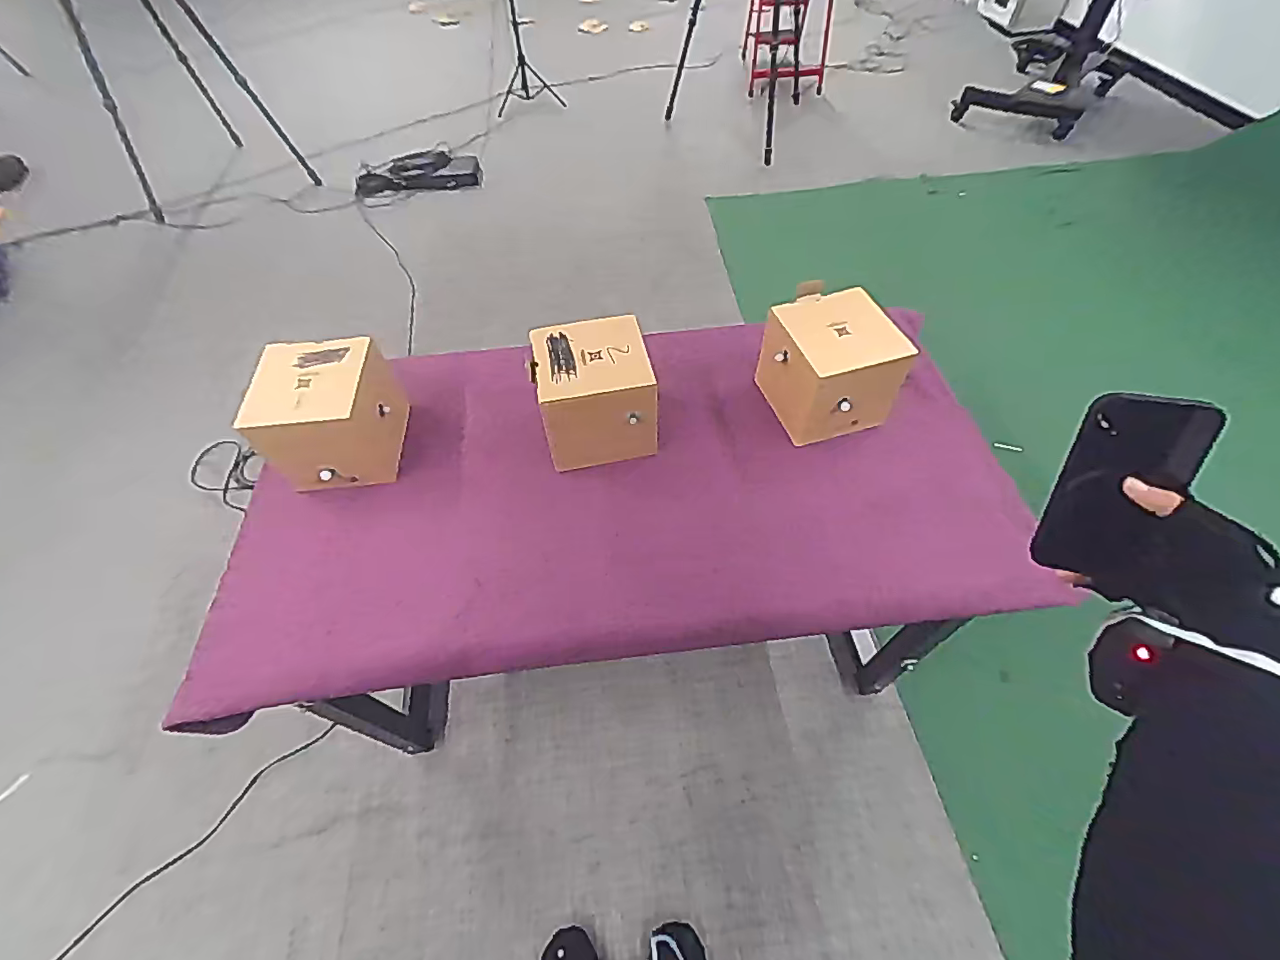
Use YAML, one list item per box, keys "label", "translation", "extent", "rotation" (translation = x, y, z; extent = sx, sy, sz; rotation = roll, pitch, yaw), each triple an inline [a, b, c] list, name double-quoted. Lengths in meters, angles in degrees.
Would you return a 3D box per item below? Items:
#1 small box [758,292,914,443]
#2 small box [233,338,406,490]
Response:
- label: "small box"
  translation: [0.314, -0.180, 0.906]
  extent: [0.168, 0.176, 0.179]
  rotation: [-15, 55, -8]
- label: "small box"
  translation: [-0.496, -0.104, 0.872]
  extent: [0.168, 0.176, 0.179]
  rotation: [-5, 56, -2]
